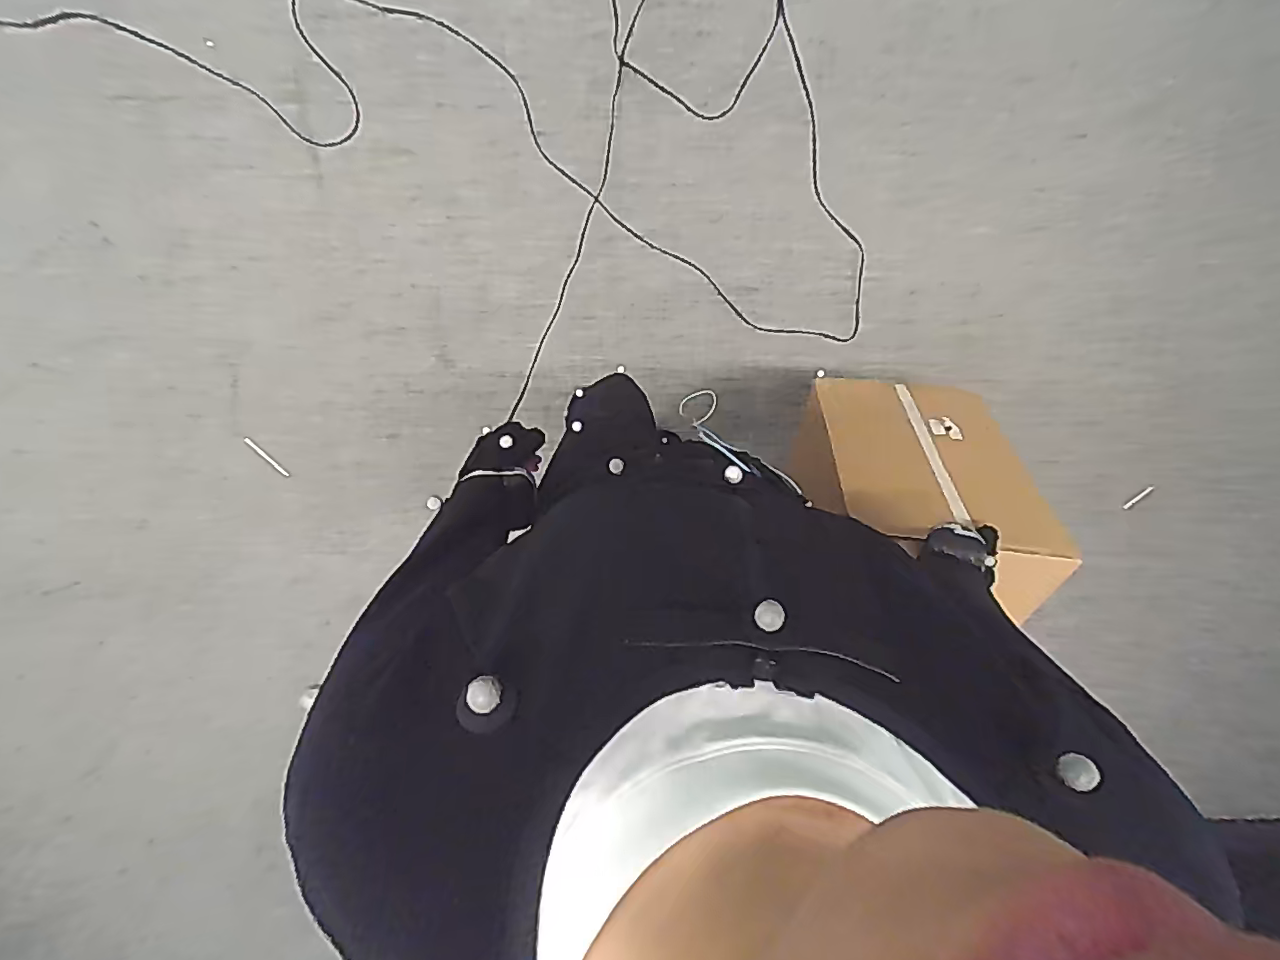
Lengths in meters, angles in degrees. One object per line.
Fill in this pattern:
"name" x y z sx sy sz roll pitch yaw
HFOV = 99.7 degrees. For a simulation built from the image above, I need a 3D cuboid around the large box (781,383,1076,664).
"large box" 0.459 0.071 0.988 0.320 0.408 0.320 7 132 2
